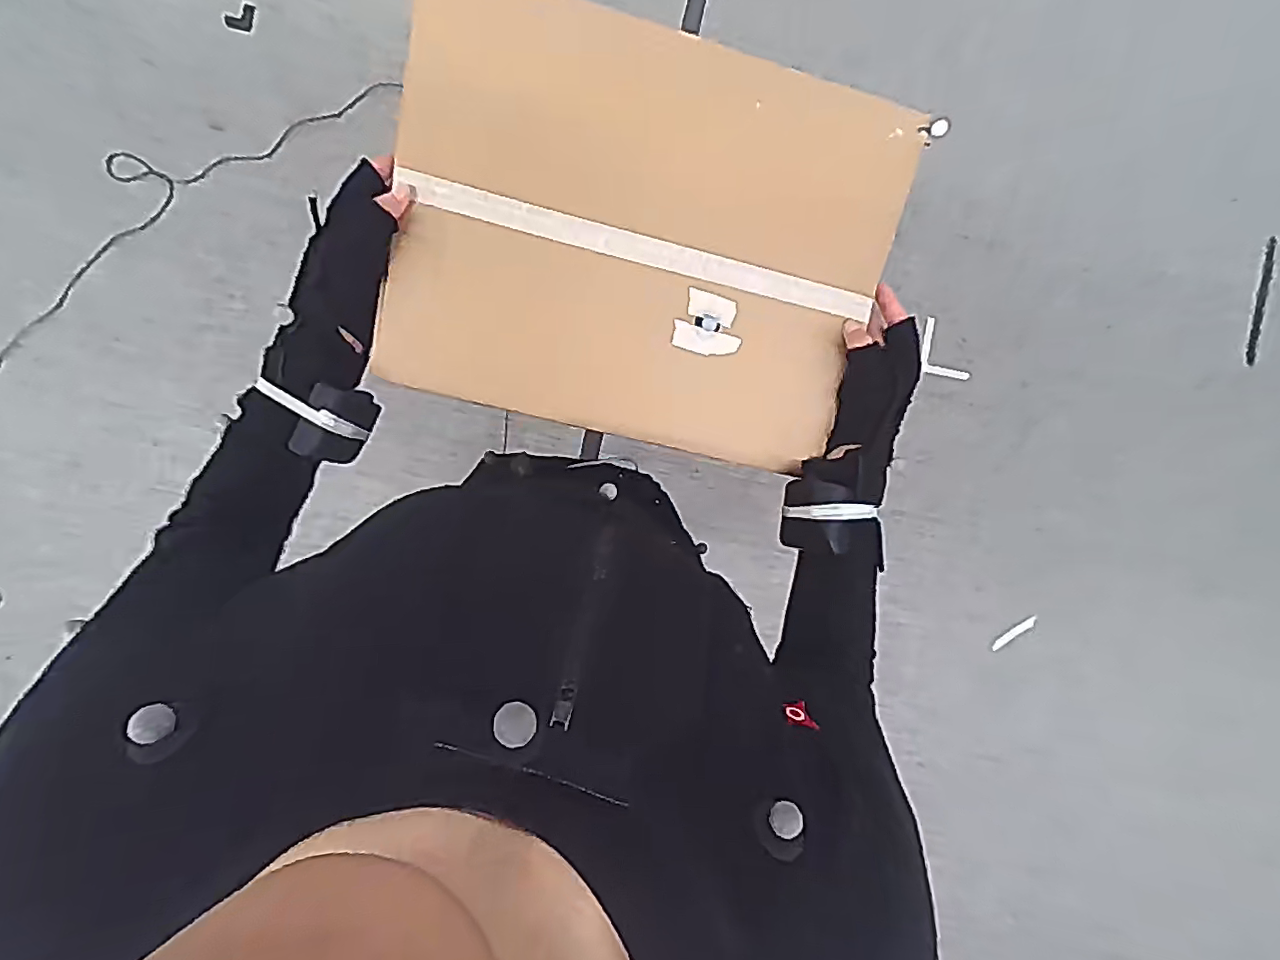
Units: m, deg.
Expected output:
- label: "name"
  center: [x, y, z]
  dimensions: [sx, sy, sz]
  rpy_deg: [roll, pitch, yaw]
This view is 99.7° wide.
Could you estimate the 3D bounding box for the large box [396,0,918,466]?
- label: "large box"
  center: [-0.003, -0.231, 0.605]
  dimensions: [0.408, 0.320, 0.320]
  rpy_deg: [12, 105, -8]
